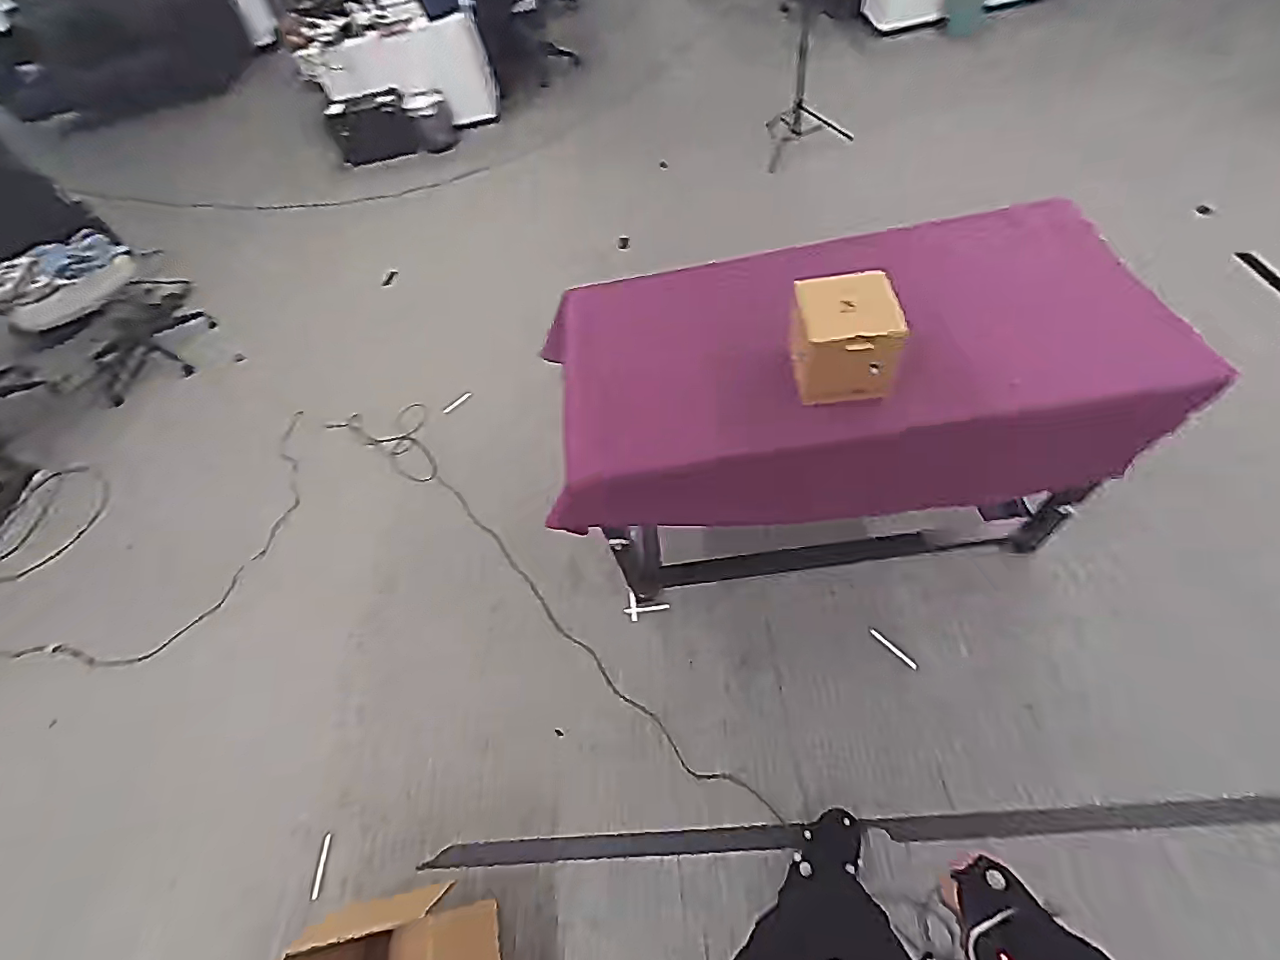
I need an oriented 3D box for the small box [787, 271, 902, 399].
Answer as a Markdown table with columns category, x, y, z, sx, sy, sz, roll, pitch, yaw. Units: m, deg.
| category | x | y | z | sx | sy | sz | roll | pitch | yaw |
| --- | --- | --- | --- | --- | --- | --- | --- | --- | --- |
| small box | 0.383 | -0.271 | 1.045 | 0.168 | 0.176 | 0.179 | -5 | 55 | 7 |
